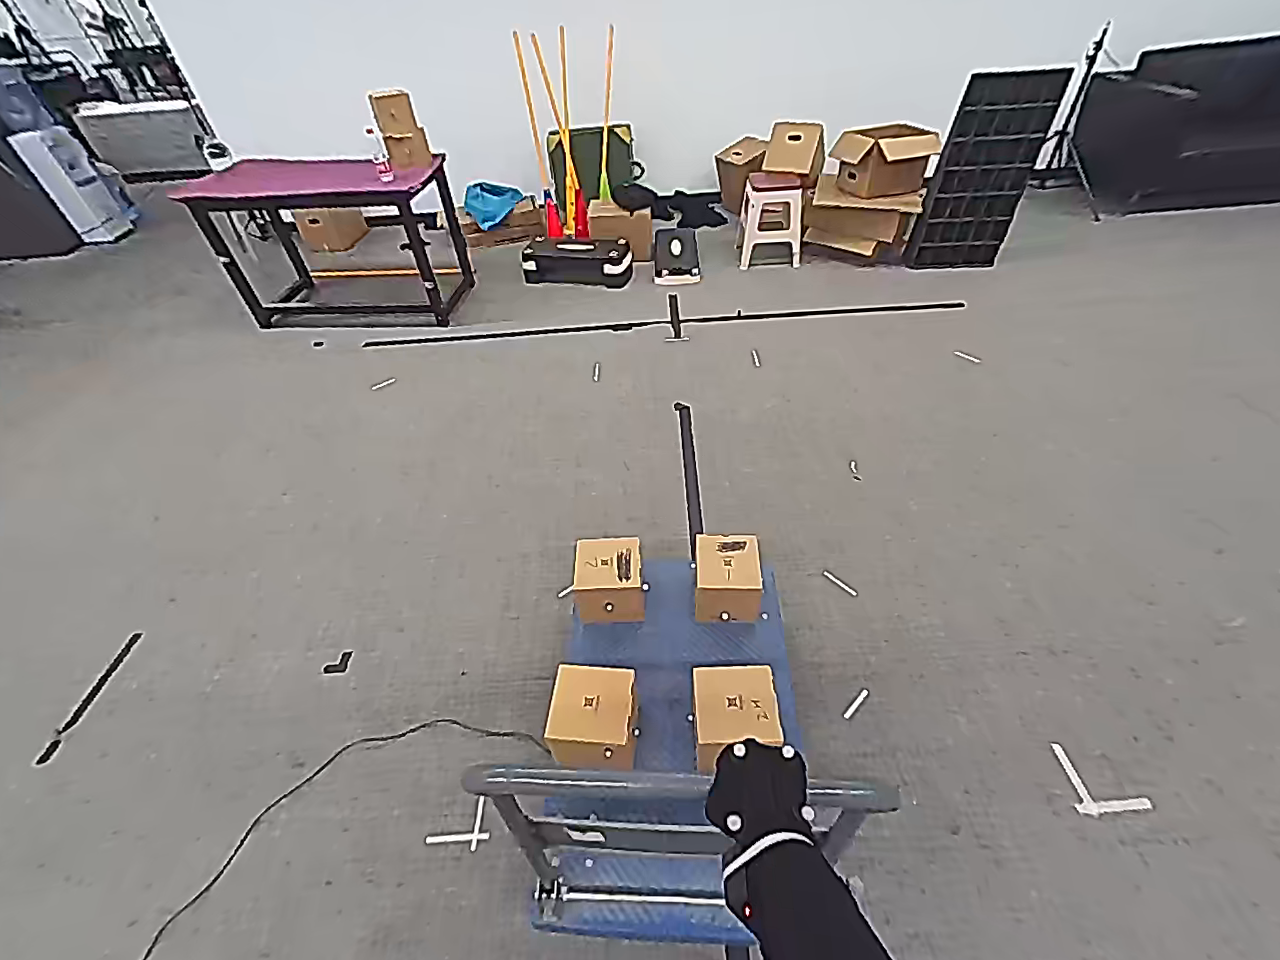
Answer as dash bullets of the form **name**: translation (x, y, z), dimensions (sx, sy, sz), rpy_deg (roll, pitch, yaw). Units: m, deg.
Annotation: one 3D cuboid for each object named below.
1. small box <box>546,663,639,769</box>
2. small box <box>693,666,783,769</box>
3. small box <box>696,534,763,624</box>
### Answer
- **small box**: translation (-0.099, 0.535, 1.222), dimensions (0.179, 0.176, 0.168), rpy_deg (3, 44, 5)
- **small box**: translation (0.210, 0.530, 1.203), dimensions (0.179, 0.176, 0.168), rpy_deg (-2, 44, 3)
- **small box**: translation (0.237, 0.269, 1.472), dimensions (0.168, 0.176, 0.179), rpy_deg (0, 45, 5)
